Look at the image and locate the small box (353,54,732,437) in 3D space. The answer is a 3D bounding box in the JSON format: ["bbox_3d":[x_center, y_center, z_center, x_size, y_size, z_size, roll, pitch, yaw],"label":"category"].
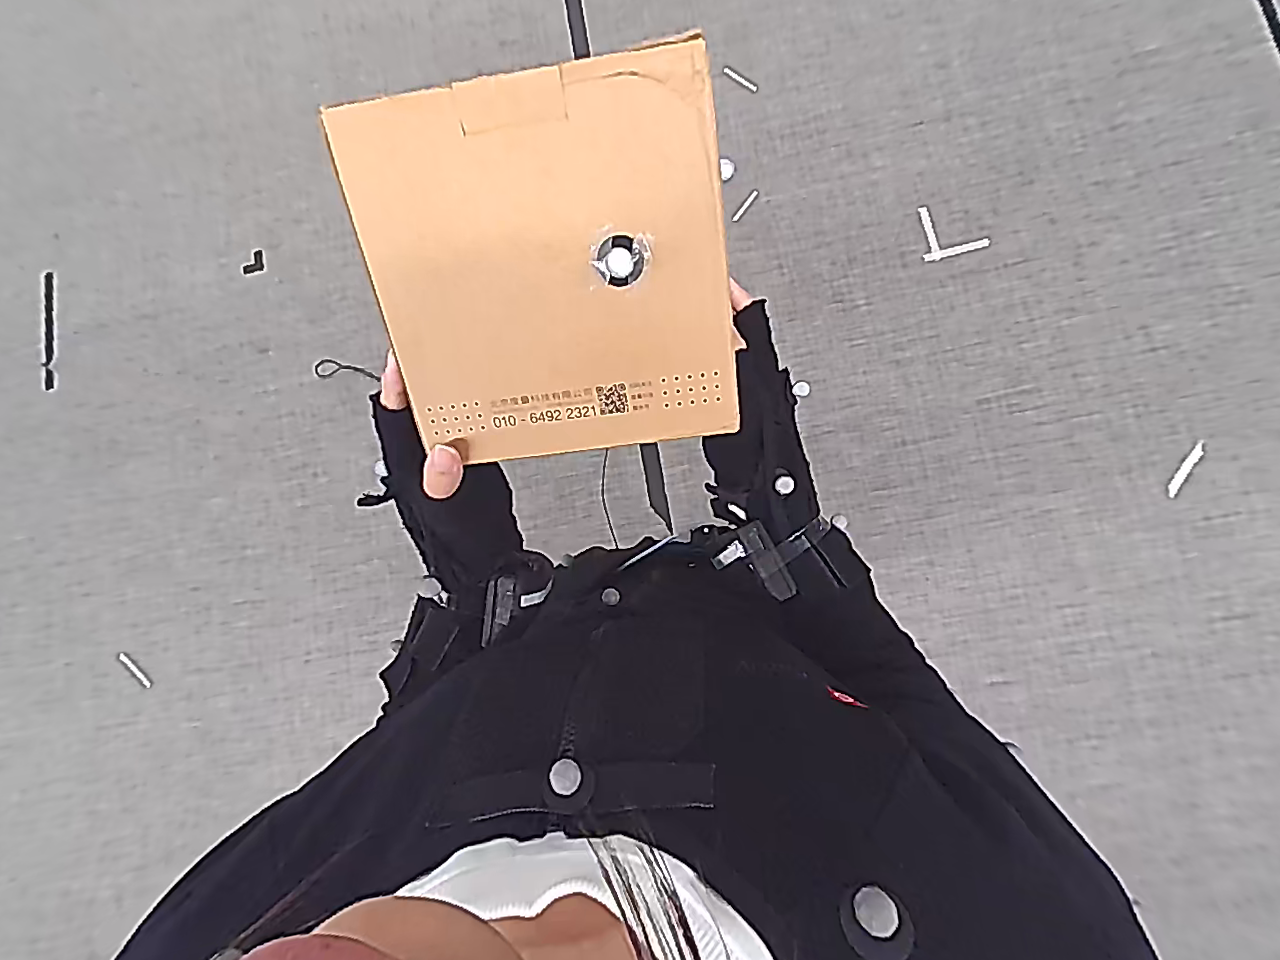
[{"bbox_3d":[-0.035,-0.130,0.345,0.168,0.179,0.176,-6,114,7],"label":"small box"}]
